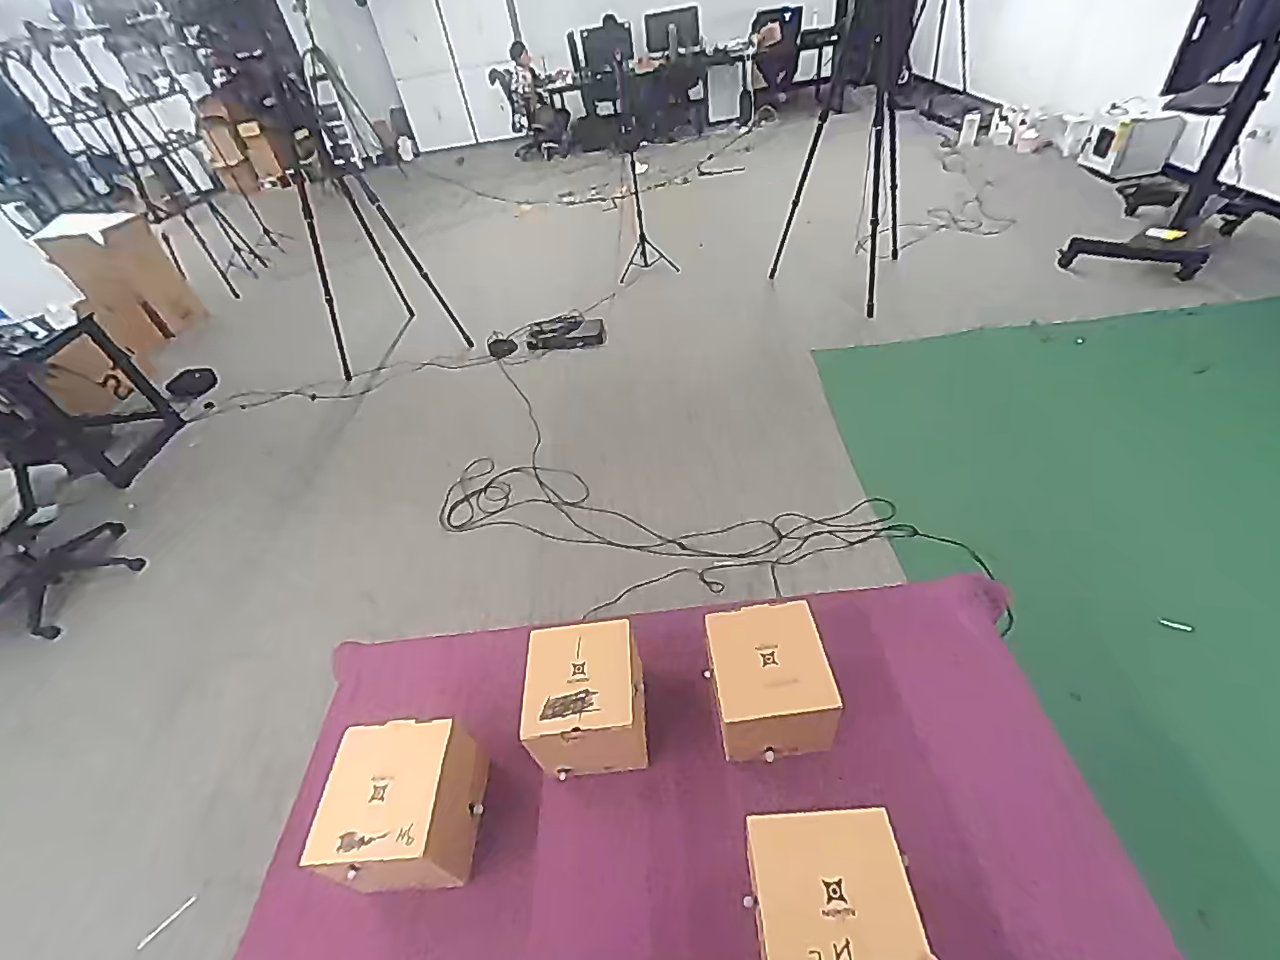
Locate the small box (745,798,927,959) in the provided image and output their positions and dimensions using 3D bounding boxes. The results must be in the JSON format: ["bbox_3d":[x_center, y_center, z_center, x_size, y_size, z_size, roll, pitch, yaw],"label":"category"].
[{"bbox_3d":[0.216,0.506,0.642,0.168,0.176,0.179,-6,41,5],"label":"small box"}]

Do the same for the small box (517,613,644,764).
[{"bbox_3d":[-0.087,0.343,0.877,0.168,0.176,0.179,-7,43,3],"label":"small box"}]

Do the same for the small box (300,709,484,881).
[{"bbox_3d":[-0.345,0.464,0.797,0.168,0.176,0.179,-7,43,5],"label":"small box"}]

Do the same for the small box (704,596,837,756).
[{"bbox_3d":[0.196,0.310,0.857,0.168,0.176,0.179,-9,44,3],"label":"small box"}]
